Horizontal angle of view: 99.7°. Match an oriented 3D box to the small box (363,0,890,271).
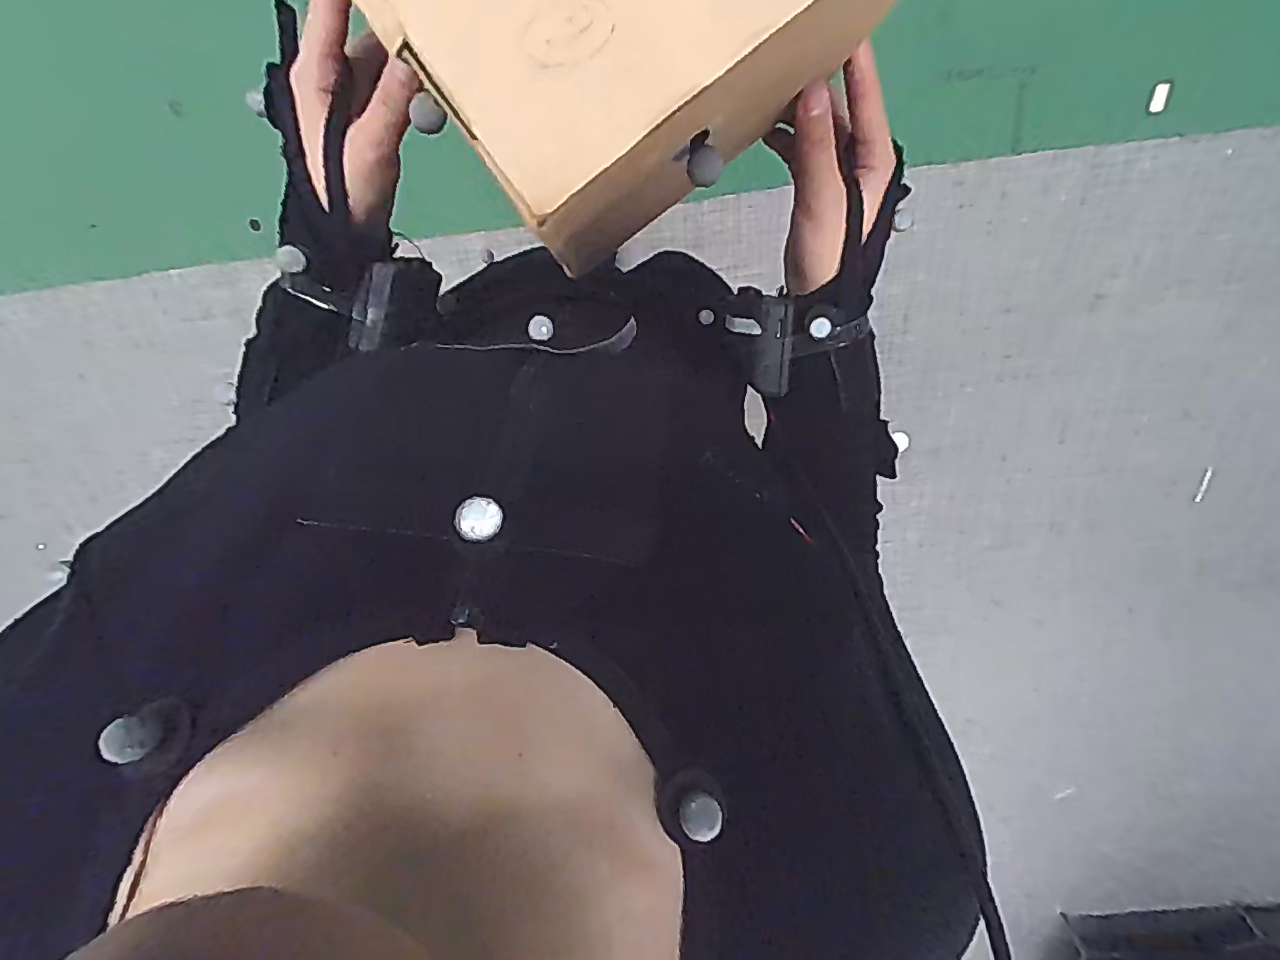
[{"bbox_3d":[-0.011,-0.207,0.216,0.179,0.176,0.168,-35,103,7],"label":"small box"}]
